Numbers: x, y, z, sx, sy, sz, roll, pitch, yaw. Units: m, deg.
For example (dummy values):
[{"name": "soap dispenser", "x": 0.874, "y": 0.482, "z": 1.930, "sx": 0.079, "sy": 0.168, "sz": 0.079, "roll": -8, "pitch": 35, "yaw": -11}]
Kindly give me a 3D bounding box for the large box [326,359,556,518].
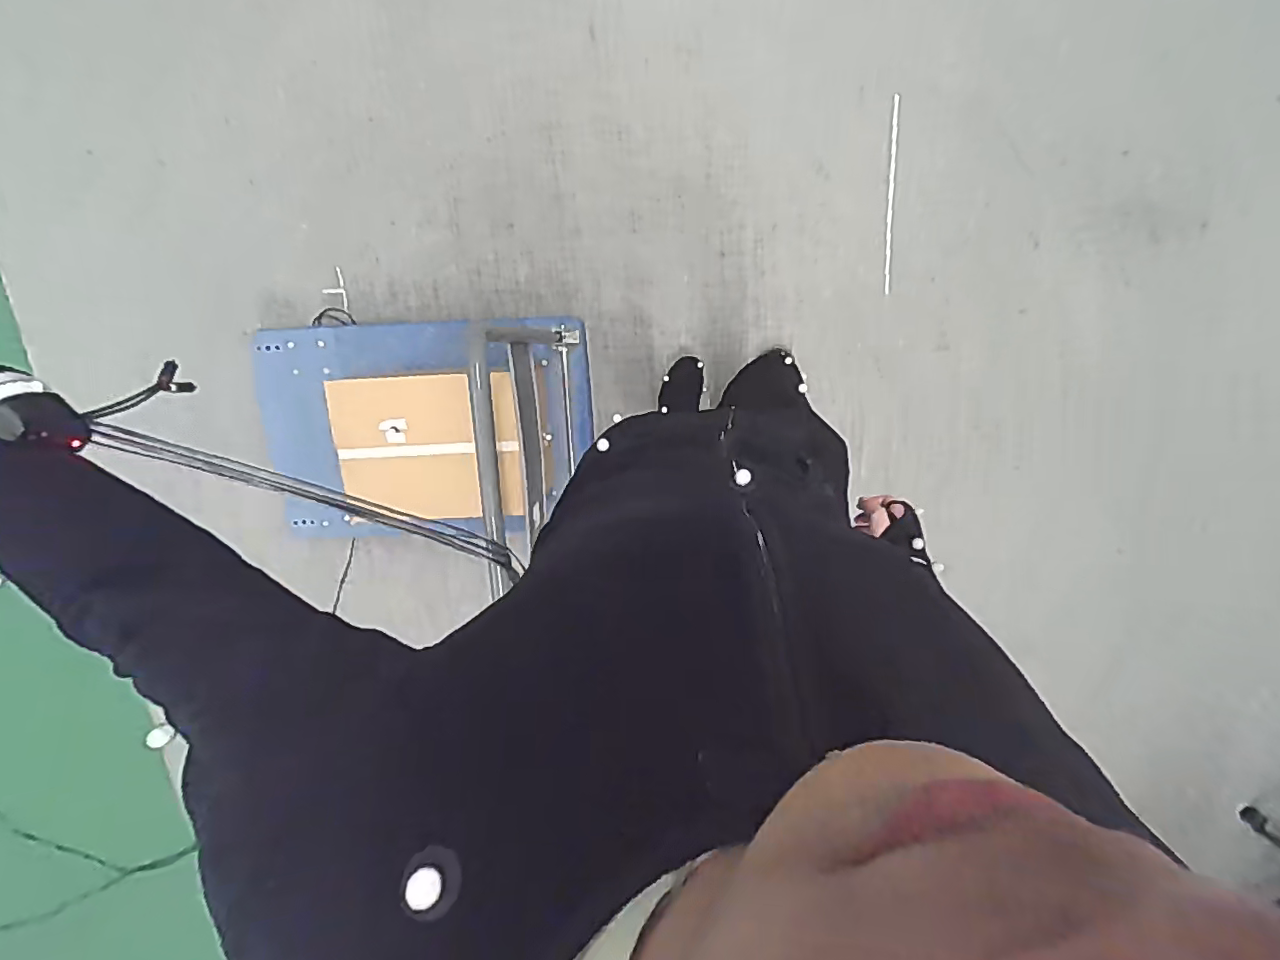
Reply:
[{"name": "large box", "x": -0.438, "y": -0.111, "z": 1.289, "sx": 0.408, "sy": 0.320, "sz": 0.320, "roll": -2, "pitch": 105, "yaw": 3}]
